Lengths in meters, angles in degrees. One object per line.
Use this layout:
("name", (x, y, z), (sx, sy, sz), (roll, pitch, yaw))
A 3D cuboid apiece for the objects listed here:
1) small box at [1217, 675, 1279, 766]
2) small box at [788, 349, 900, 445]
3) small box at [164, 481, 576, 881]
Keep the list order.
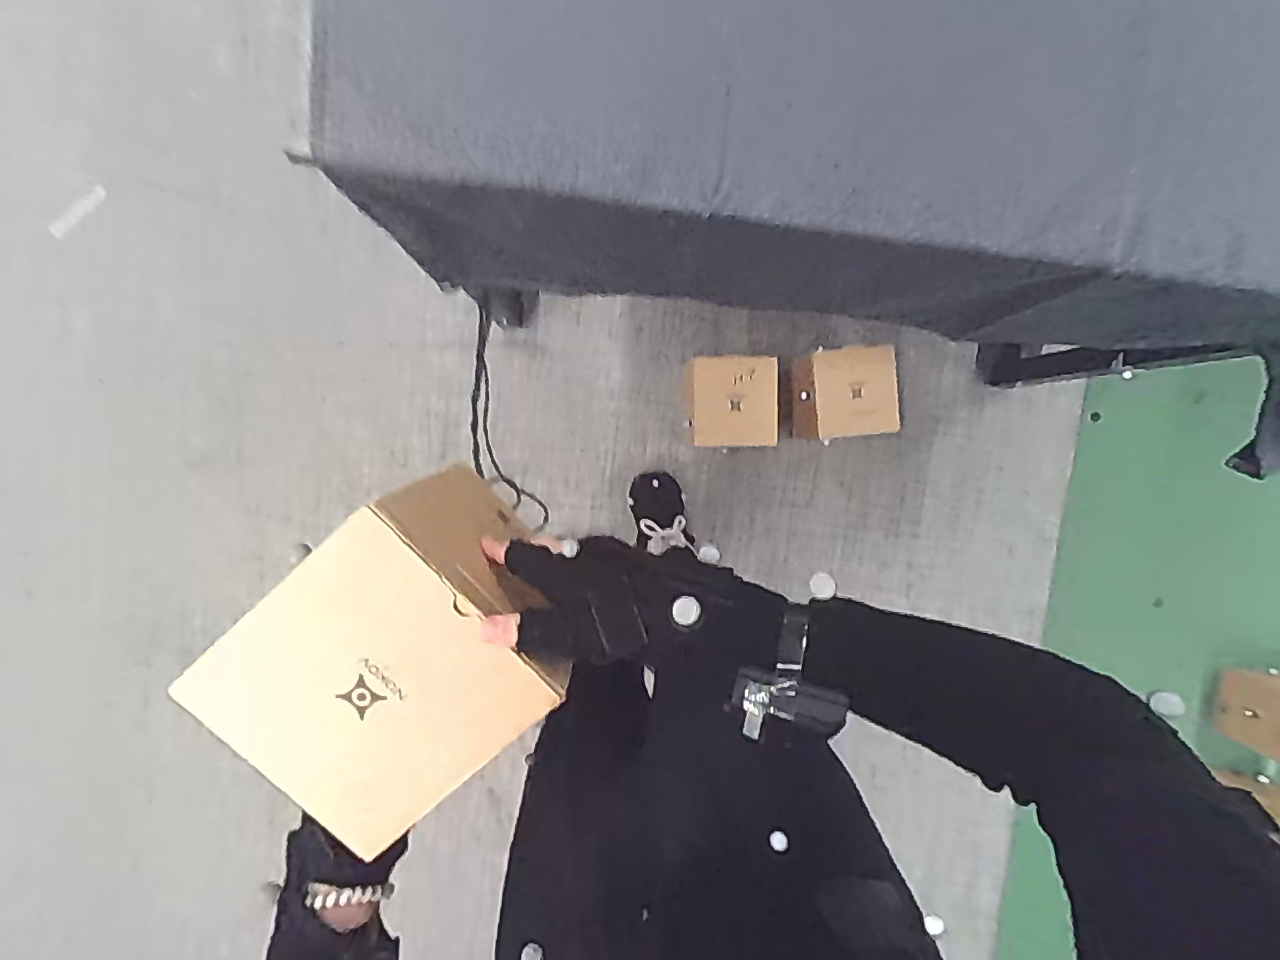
("small box", (1.504, 0.564, 1.246), (0.179, 0.176, 0.168), (5, 94, -2))
("small box", (0.420, -0.168, 1.135), (0.168, 0.176, 0.179), (-6, 94, -2))
("small box", (-0.165, 0.124, 0.398), (0.179, 0.176, 0.168), (-41, 98, 5))
